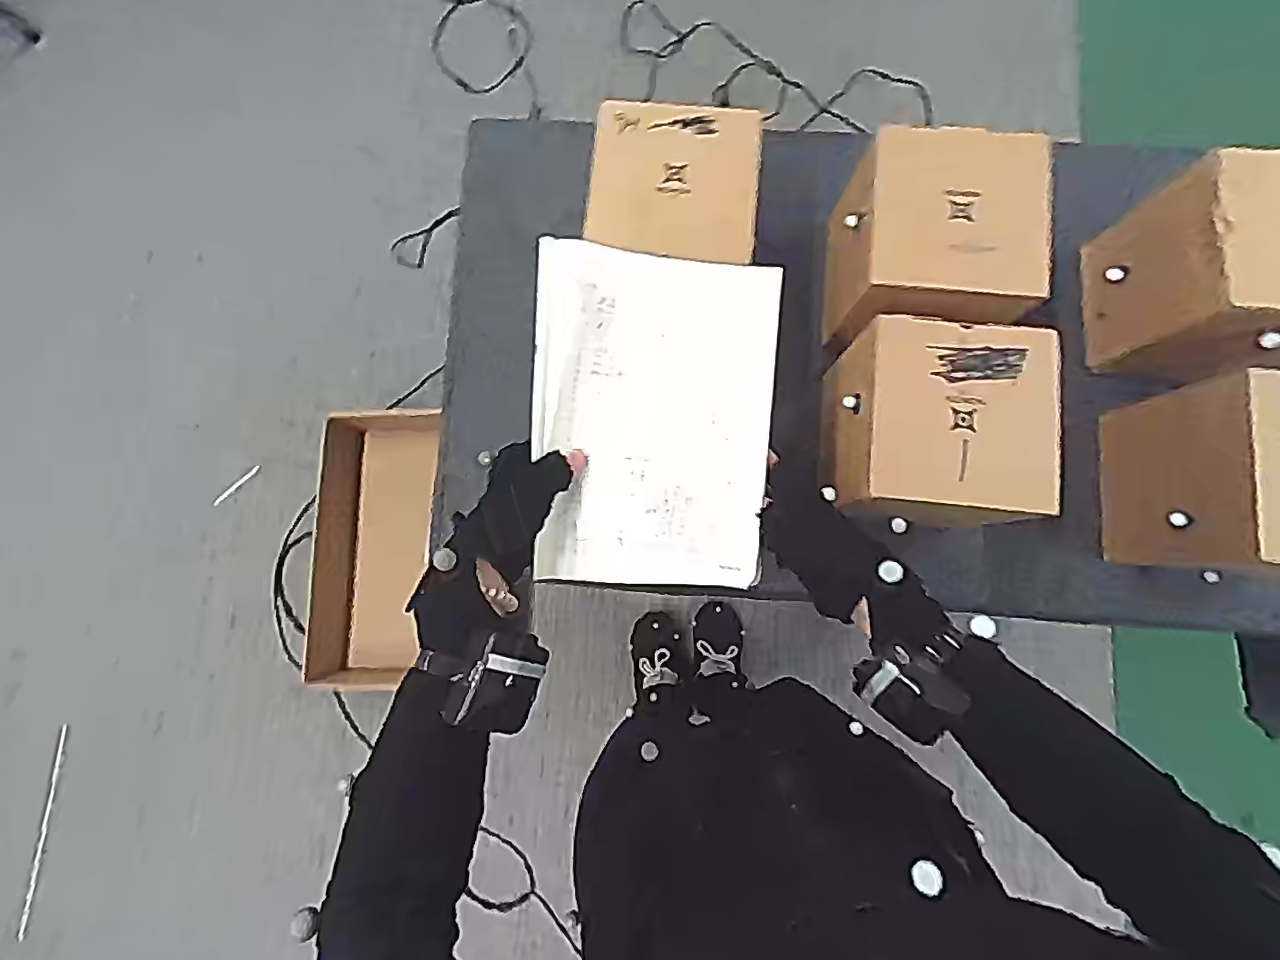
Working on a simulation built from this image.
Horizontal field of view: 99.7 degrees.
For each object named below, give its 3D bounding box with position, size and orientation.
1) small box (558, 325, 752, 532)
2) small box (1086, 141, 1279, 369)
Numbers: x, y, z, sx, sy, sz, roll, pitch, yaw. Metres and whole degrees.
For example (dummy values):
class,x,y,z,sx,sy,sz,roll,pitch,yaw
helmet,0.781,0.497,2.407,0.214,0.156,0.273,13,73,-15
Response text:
class,x,y,z,sx,sy,sz,roll,pitch,yaw
small box,0.015,-0.040,0.550,0.168,0.176,0.179,-4,85,1
small box,0.635,-0.226,0.582,0.179,0.176,0.168,4,81,4
